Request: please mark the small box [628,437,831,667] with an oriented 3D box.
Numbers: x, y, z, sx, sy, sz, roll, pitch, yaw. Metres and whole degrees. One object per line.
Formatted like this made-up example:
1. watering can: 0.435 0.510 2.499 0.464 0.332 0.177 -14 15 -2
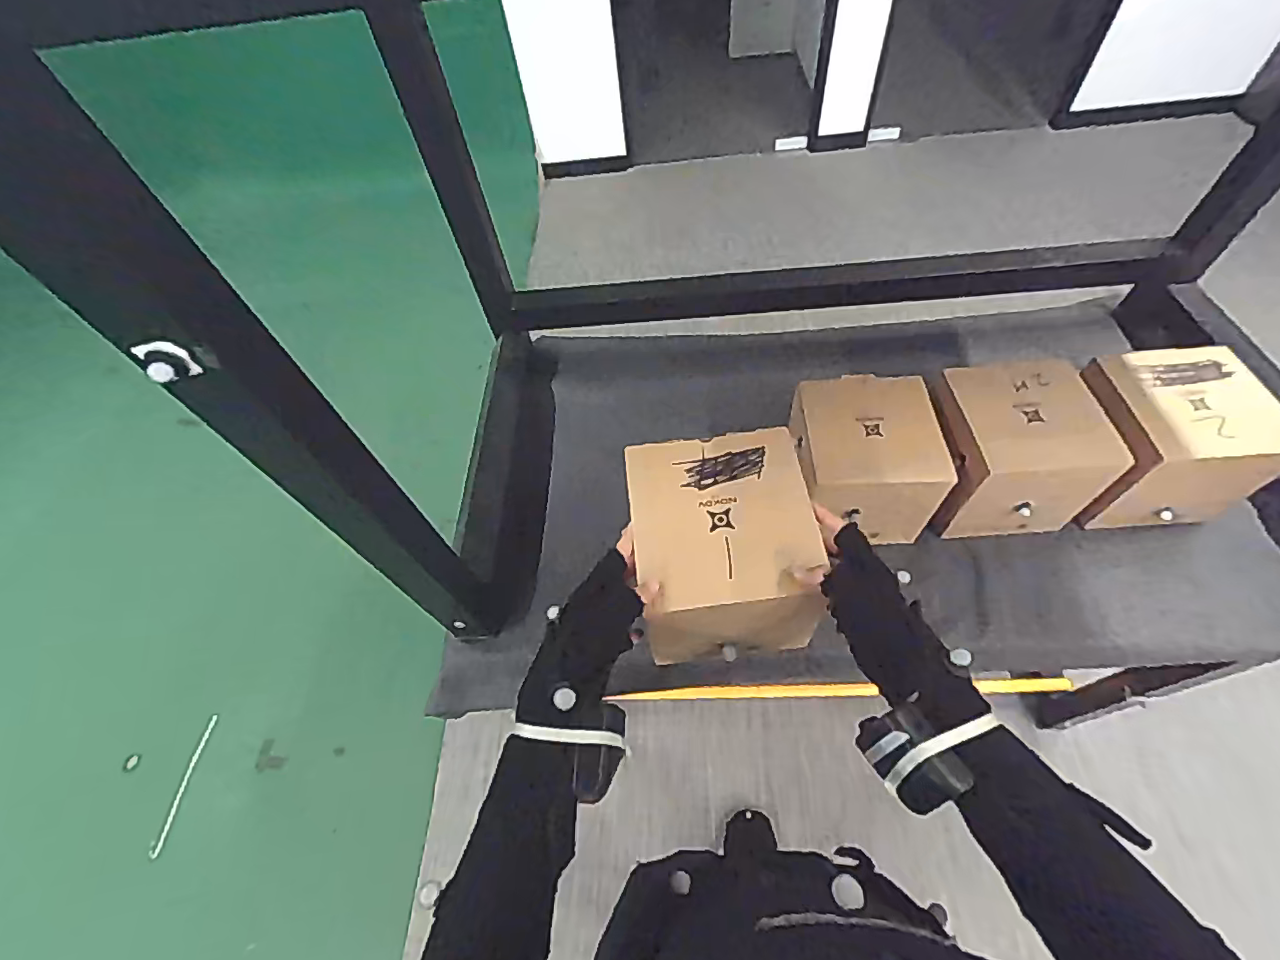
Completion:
1. small box: 0.082 0.081 0.573 0.168 0.176 0.179 -9 57 2
